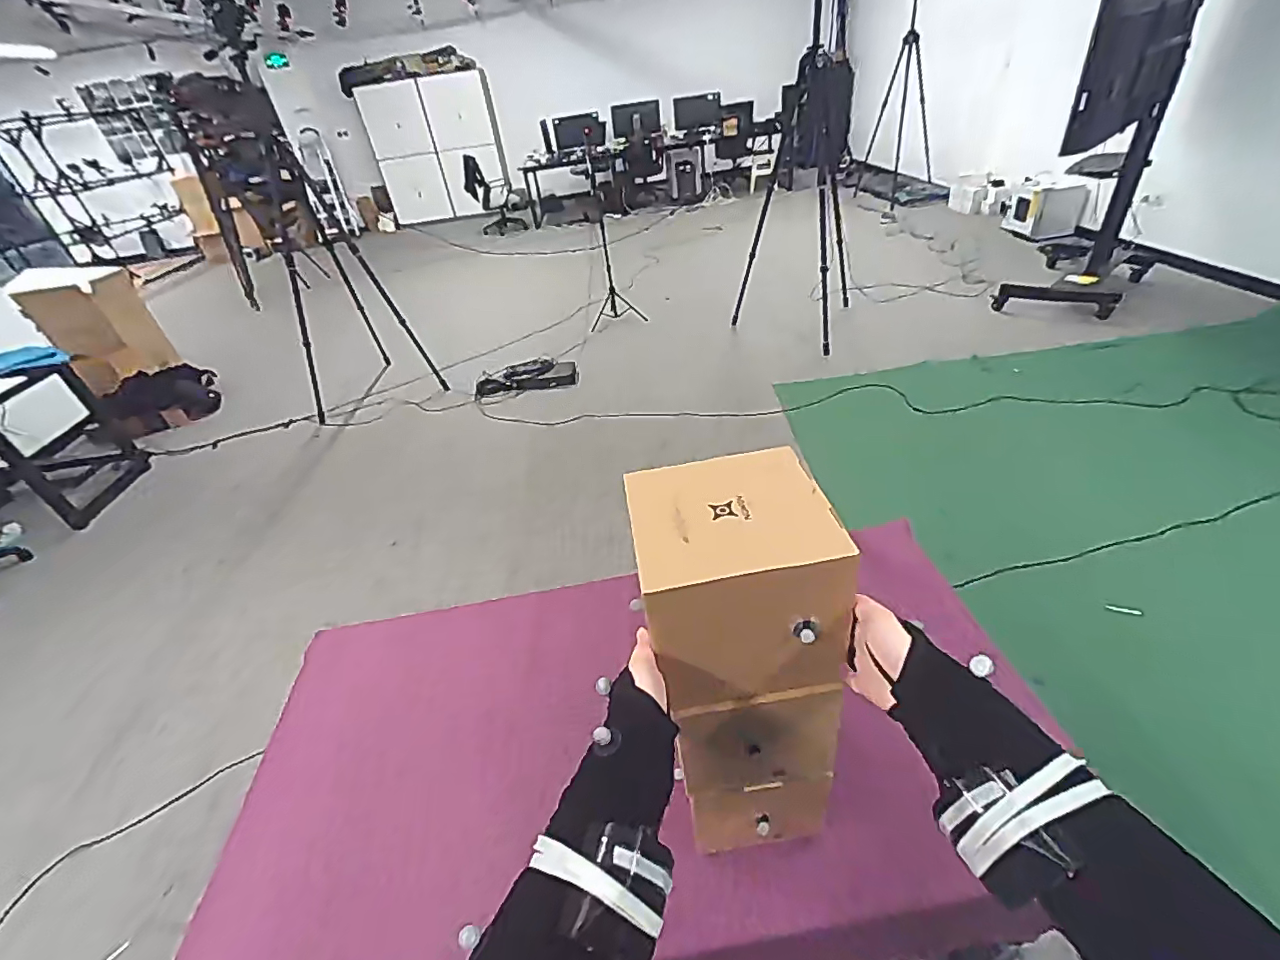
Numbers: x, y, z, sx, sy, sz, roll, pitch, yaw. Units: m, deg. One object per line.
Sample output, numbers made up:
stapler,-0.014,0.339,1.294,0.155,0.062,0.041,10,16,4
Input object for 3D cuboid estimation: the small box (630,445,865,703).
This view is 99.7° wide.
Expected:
small box,0.092,0.090,0.528,0.179,0.176,0.168,-10,36,0

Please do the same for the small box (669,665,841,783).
small box,0.114,0.222,0.620,0.168,0.176,0.179,-7,35,0

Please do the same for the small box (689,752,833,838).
small box,0.143,0.351,0.722,0.168,0.176,0.179,-9,38,0
